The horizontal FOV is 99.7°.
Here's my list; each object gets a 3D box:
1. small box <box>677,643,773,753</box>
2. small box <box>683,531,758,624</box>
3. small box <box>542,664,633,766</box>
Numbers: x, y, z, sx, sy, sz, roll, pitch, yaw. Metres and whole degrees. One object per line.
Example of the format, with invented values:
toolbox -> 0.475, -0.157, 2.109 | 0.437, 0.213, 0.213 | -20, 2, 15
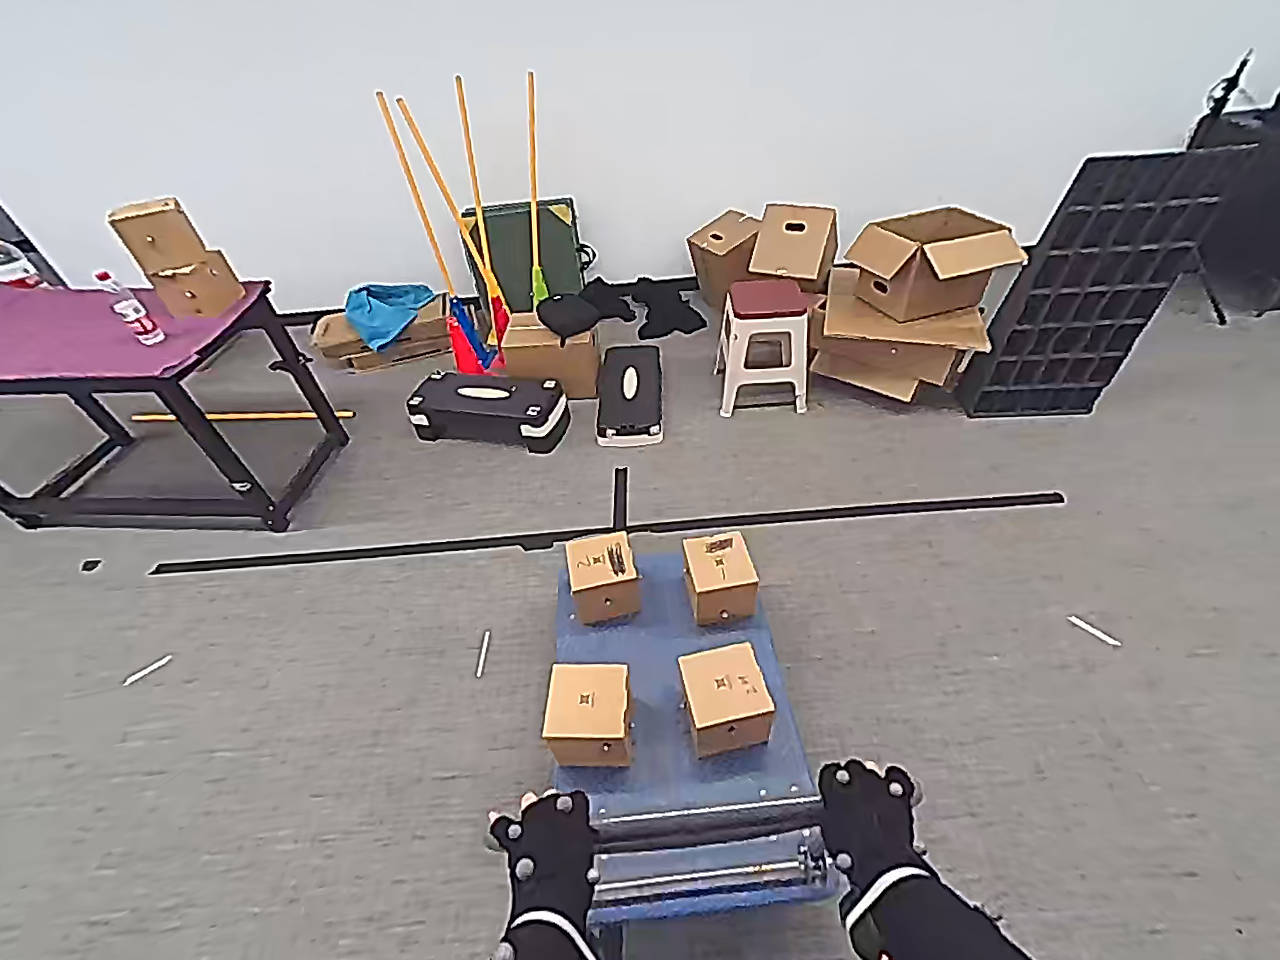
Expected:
small box -> 0.190, 0.503, 1.240 | 0.179, 0.176, 0.168 | -11, 45, -4
small box -> 0.213, 0.267, 1.480 | 0.168, 0.176, 0.179 | -9, 45, -3
small box -> -0.113, 0.539, 1.237 | 0.179, 0.176, 0.168 | -1, 44, 3
